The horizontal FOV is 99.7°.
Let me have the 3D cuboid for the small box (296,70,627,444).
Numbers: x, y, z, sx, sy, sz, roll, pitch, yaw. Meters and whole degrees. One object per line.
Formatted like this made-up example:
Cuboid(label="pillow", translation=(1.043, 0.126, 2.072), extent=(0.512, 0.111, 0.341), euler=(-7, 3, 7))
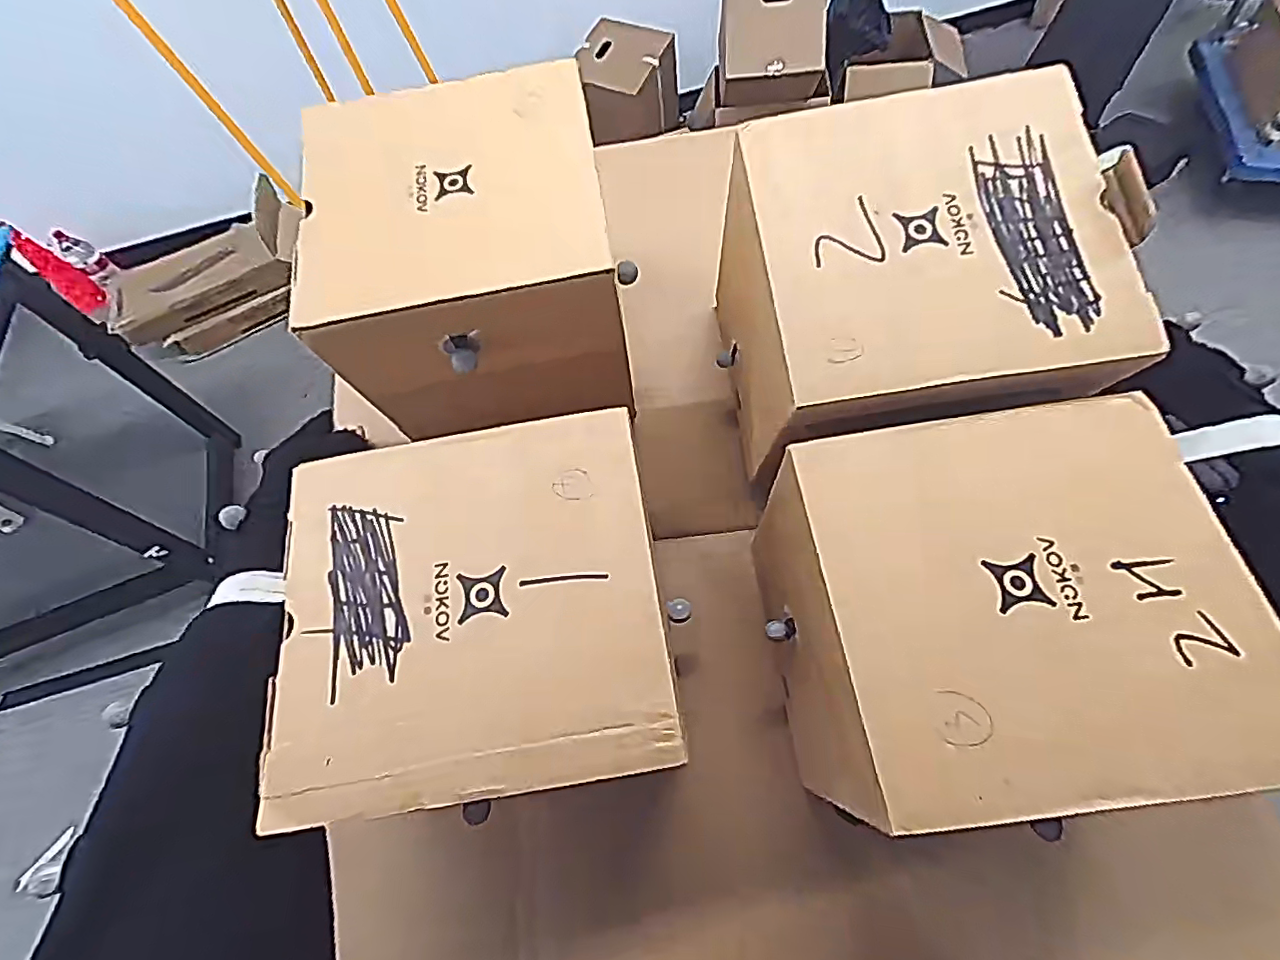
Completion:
Cuboid(label="small box", translation=(-0.108, -0.142, 0.392), extent=(0.179, 0.176, 0.168), euler=(-11, 70, 2))
